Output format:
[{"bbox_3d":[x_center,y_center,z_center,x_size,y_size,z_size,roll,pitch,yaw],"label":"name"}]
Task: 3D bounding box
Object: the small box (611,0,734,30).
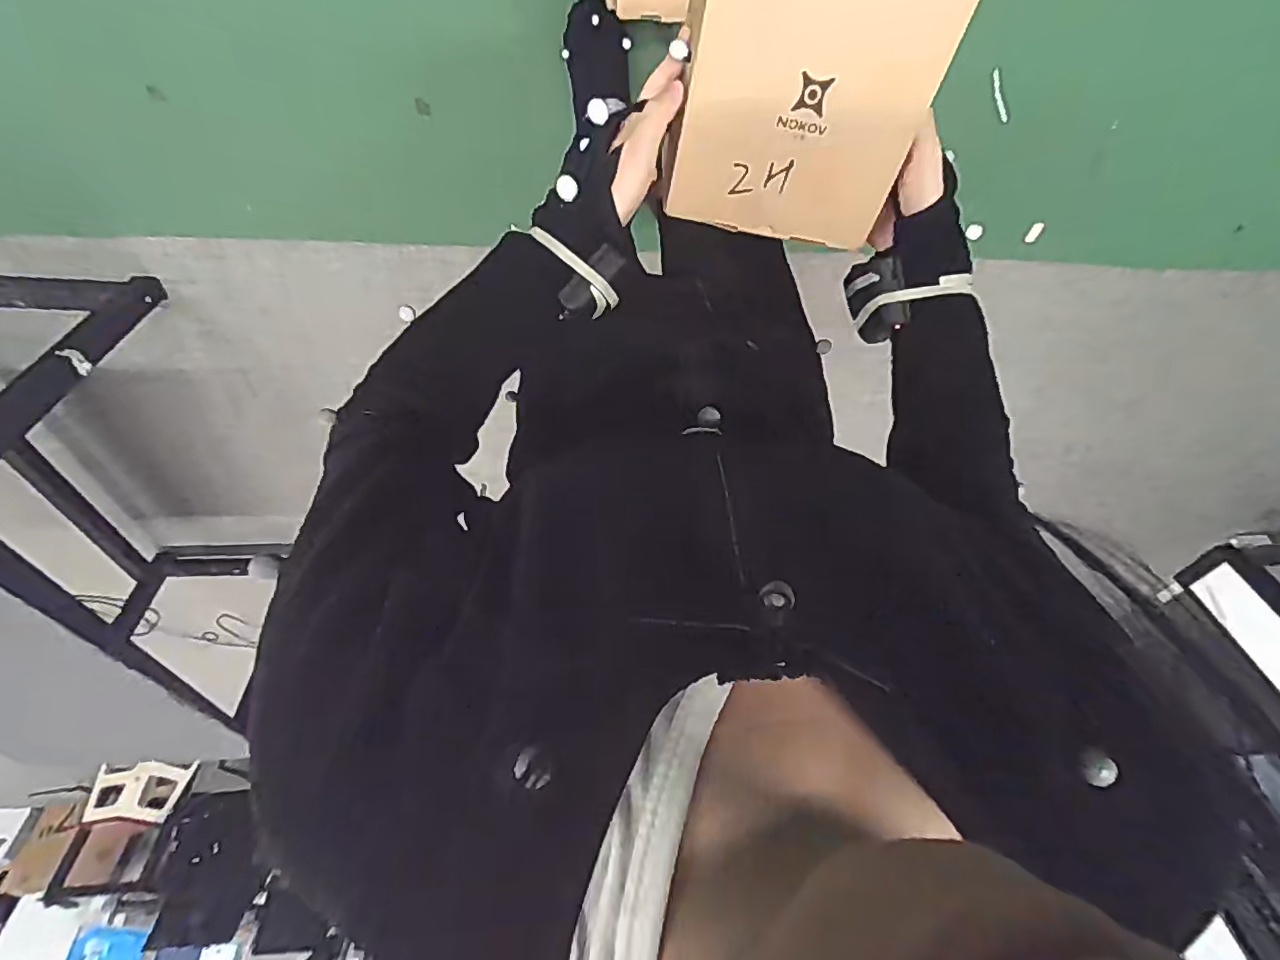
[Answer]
[{"bbox_3d":[0.041,-0.749,0.751,0.168,0.176,0.179,-4,137,-3],"label":"small box"}]
